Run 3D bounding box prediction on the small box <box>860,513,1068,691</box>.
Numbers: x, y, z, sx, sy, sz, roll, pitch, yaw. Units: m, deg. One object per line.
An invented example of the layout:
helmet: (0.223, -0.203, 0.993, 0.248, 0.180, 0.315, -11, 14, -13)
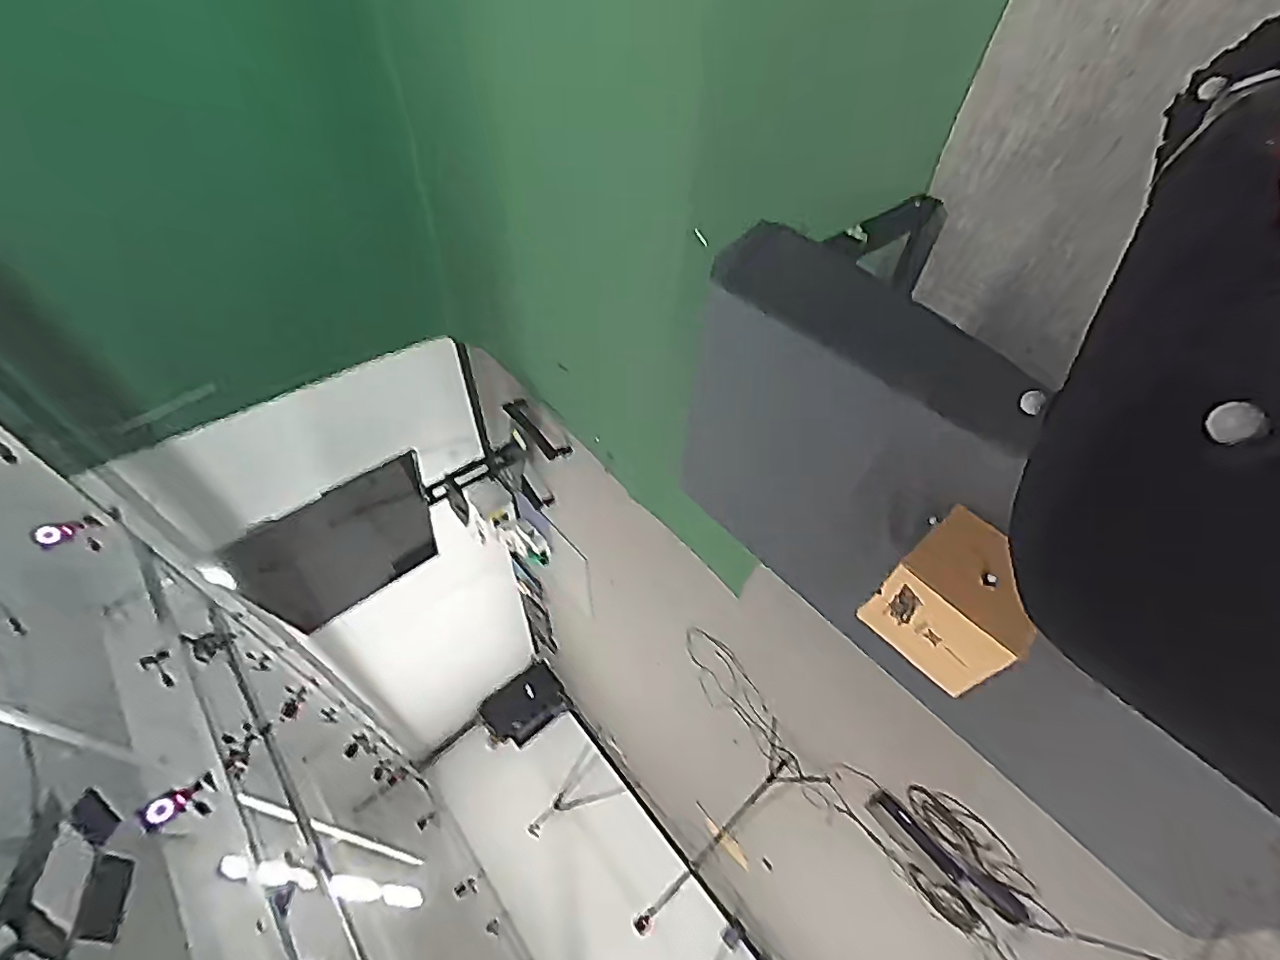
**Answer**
small box: (0.476, 0.173, 0.810, 0.179, 0.176, 0.168, 43, 151, 25)
